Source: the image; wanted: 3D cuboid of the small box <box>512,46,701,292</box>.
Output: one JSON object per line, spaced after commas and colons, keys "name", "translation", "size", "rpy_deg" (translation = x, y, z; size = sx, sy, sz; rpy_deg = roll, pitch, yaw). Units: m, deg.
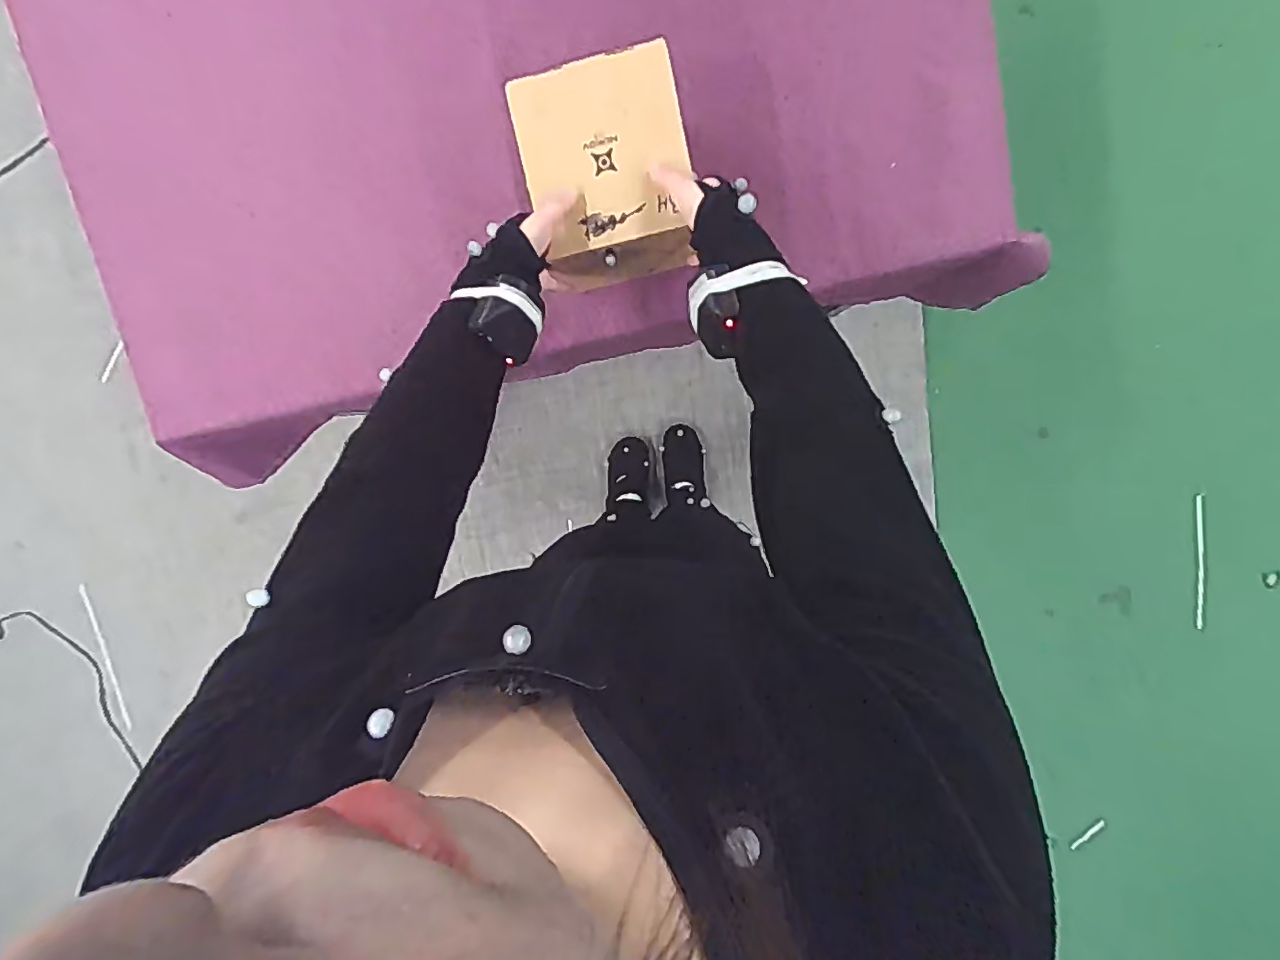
{"name": "small box", "translation": [-0.028, -0.335, 0.621], "size": [0.168, 0.176, 0.179], "rpy_deg": [-11, 98, 6]}
